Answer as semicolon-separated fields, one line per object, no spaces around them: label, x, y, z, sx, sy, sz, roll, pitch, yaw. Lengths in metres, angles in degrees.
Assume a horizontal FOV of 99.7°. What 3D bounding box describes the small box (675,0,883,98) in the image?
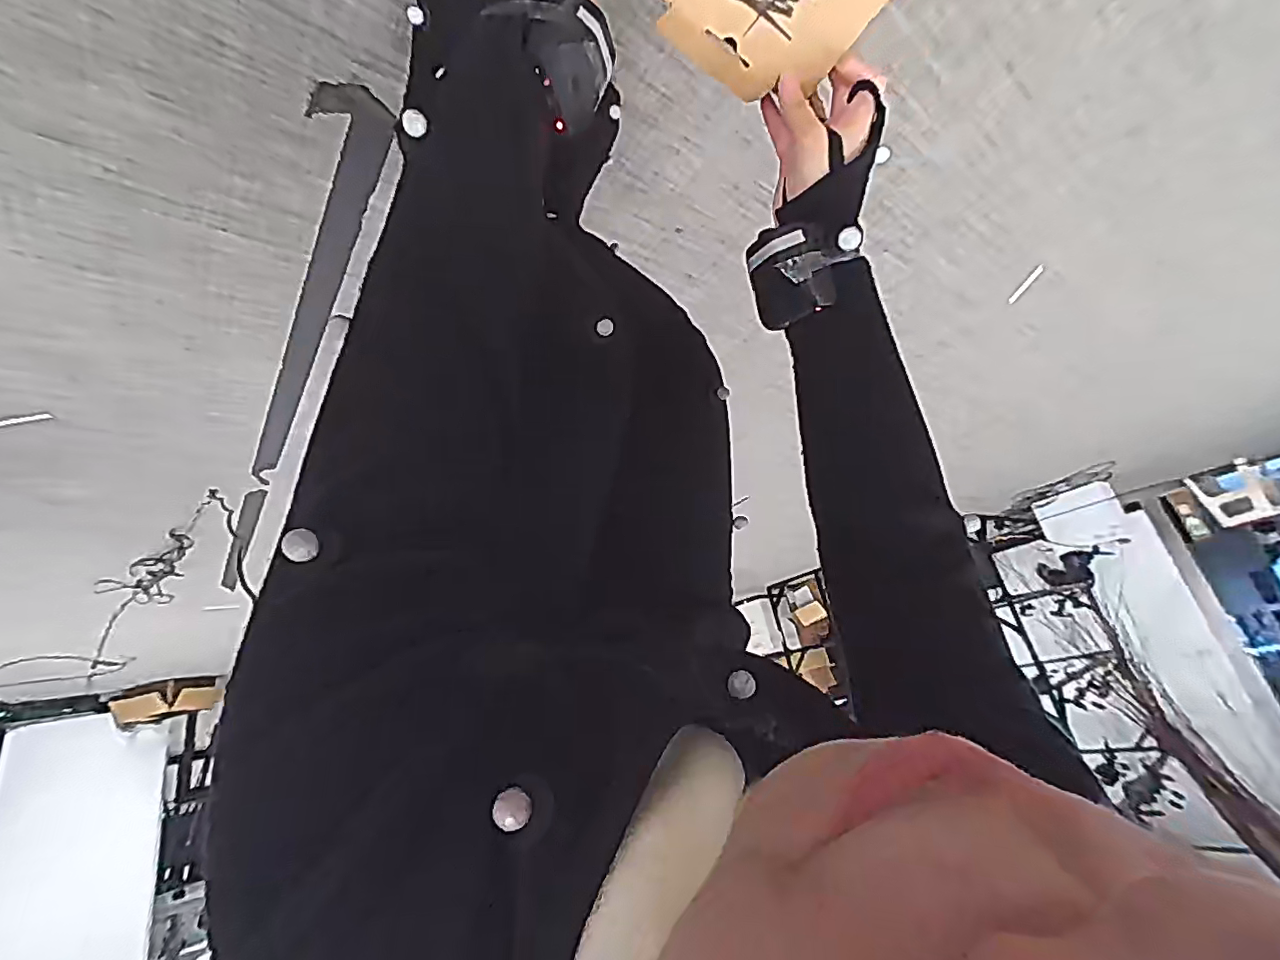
small box;0.083;-0.398;0.326;0.168;0.176;0.179;3;151;-41
